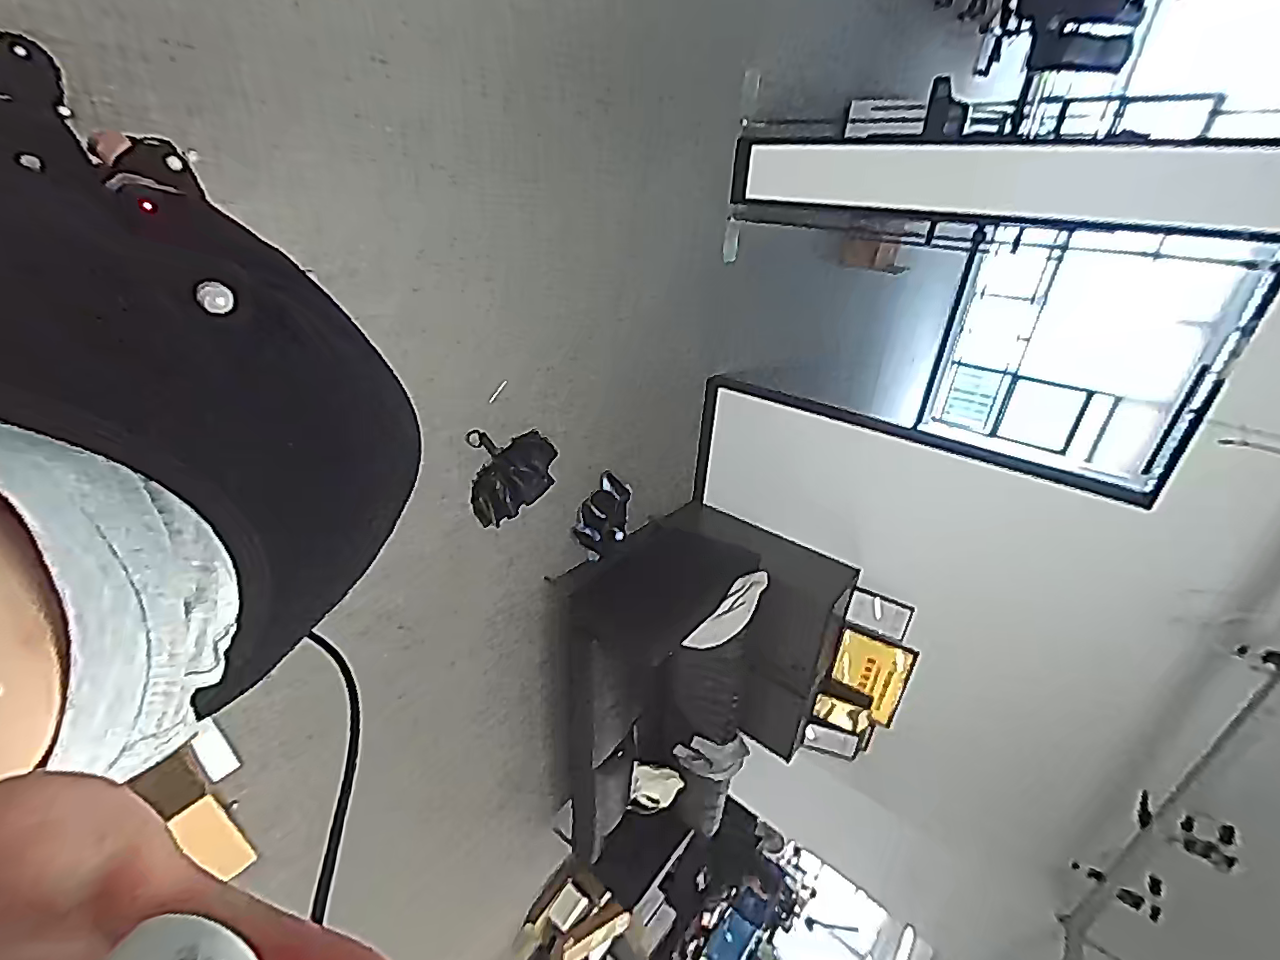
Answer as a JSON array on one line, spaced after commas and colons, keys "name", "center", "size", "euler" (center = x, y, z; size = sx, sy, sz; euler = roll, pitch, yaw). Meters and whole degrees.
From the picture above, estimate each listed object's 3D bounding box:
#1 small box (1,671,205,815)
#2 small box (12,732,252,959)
[{"name": "small box", "center": [-0.792, 0.428, 0.813], "size": [0.168, 0.176, 0.179], "euler": [-31, 135, -42]}, {"name": "small box", "center": [-0.668, 0.480, 0.721], "size": [0.168, 0.176, 0.179], "euler": [-34, 135, -42]}]
